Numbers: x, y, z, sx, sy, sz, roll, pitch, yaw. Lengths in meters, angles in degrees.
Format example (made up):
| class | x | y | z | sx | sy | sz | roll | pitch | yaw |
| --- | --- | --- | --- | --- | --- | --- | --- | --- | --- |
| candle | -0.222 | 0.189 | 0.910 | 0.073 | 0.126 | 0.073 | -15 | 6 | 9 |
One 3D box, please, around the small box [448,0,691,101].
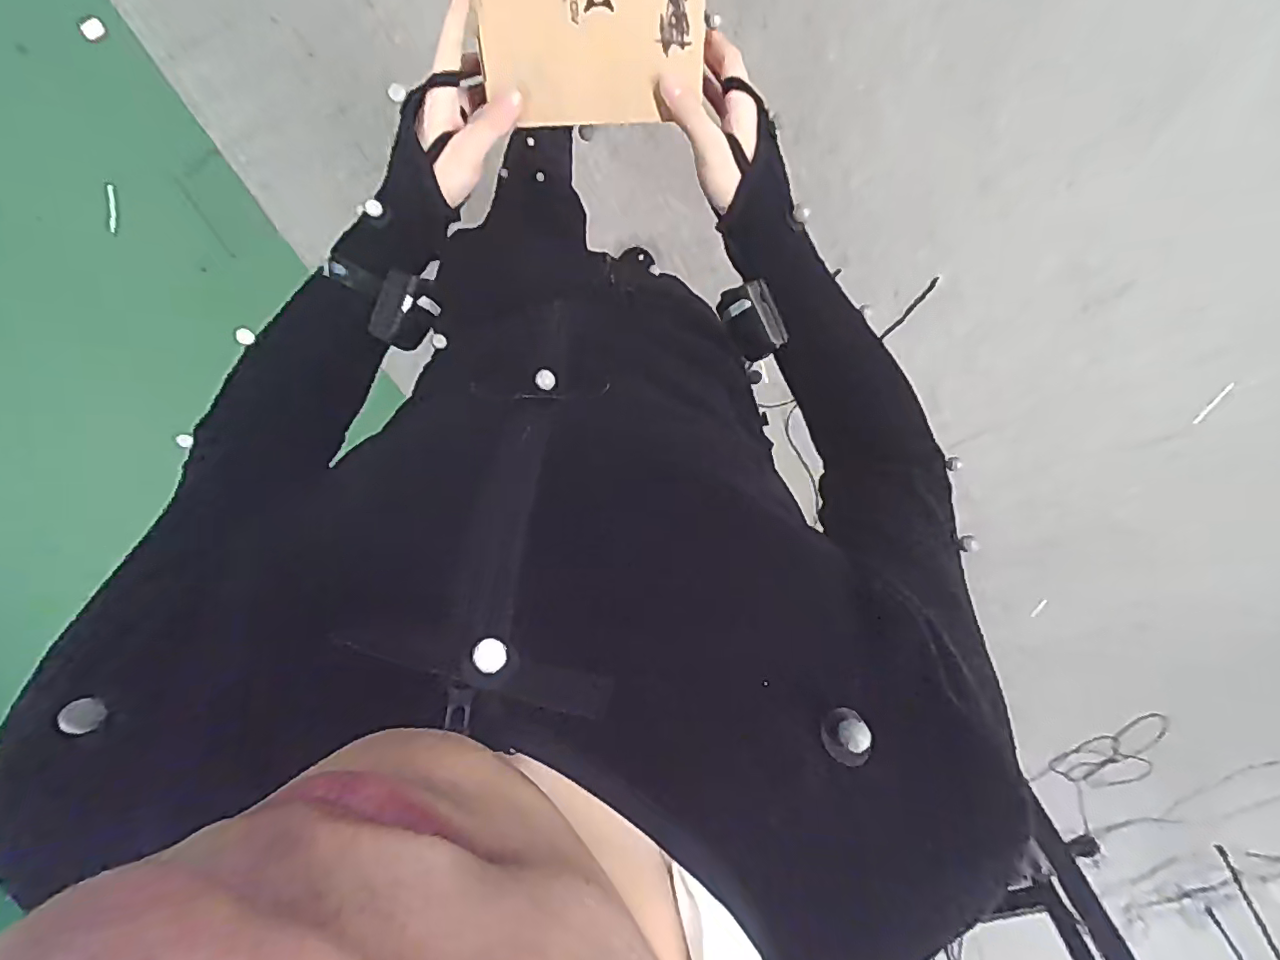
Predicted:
| class | x | y | z | sx | sy | sz | roll | pitch | yaw |
| --- | --- | --- | --- | --- | --- | --- | --- | --- | --- |
| small box | -0.046 | -0.408 | 0.434 | 0.179 | 0.176 | 0.168 | 3 | 126 | 2 |
